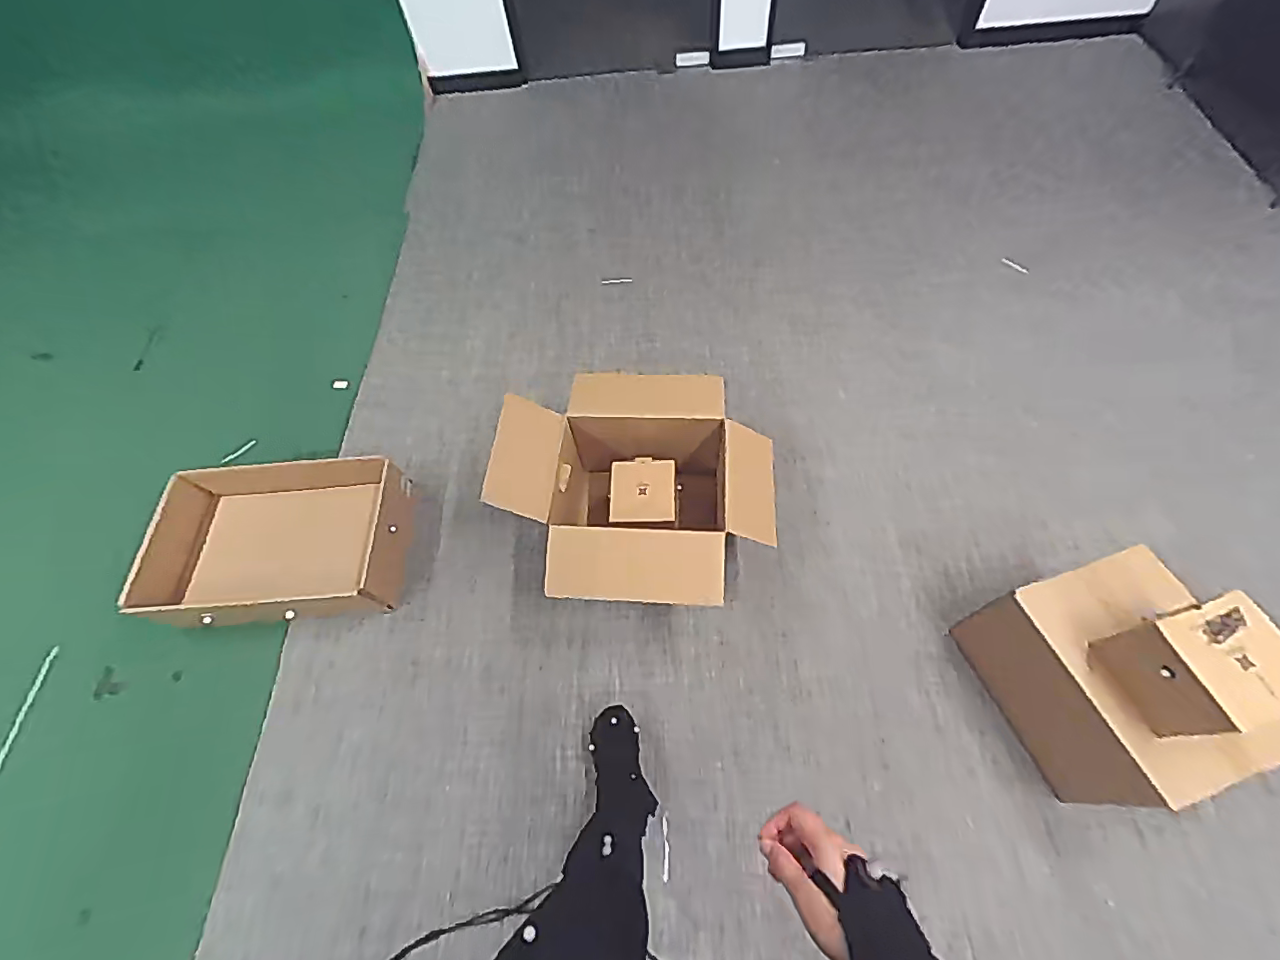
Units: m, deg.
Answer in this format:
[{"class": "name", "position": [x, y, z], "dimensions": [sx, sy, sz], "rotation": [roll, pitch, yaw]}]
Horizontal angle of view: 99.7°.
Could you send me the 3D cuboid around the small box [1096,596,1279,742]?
[{"class": "small box", "position": [0.947, 0.326, 0.918], "dimensions": [0.168, 0.176, 0.179], "rotation": [-19, 61, -4]}]
